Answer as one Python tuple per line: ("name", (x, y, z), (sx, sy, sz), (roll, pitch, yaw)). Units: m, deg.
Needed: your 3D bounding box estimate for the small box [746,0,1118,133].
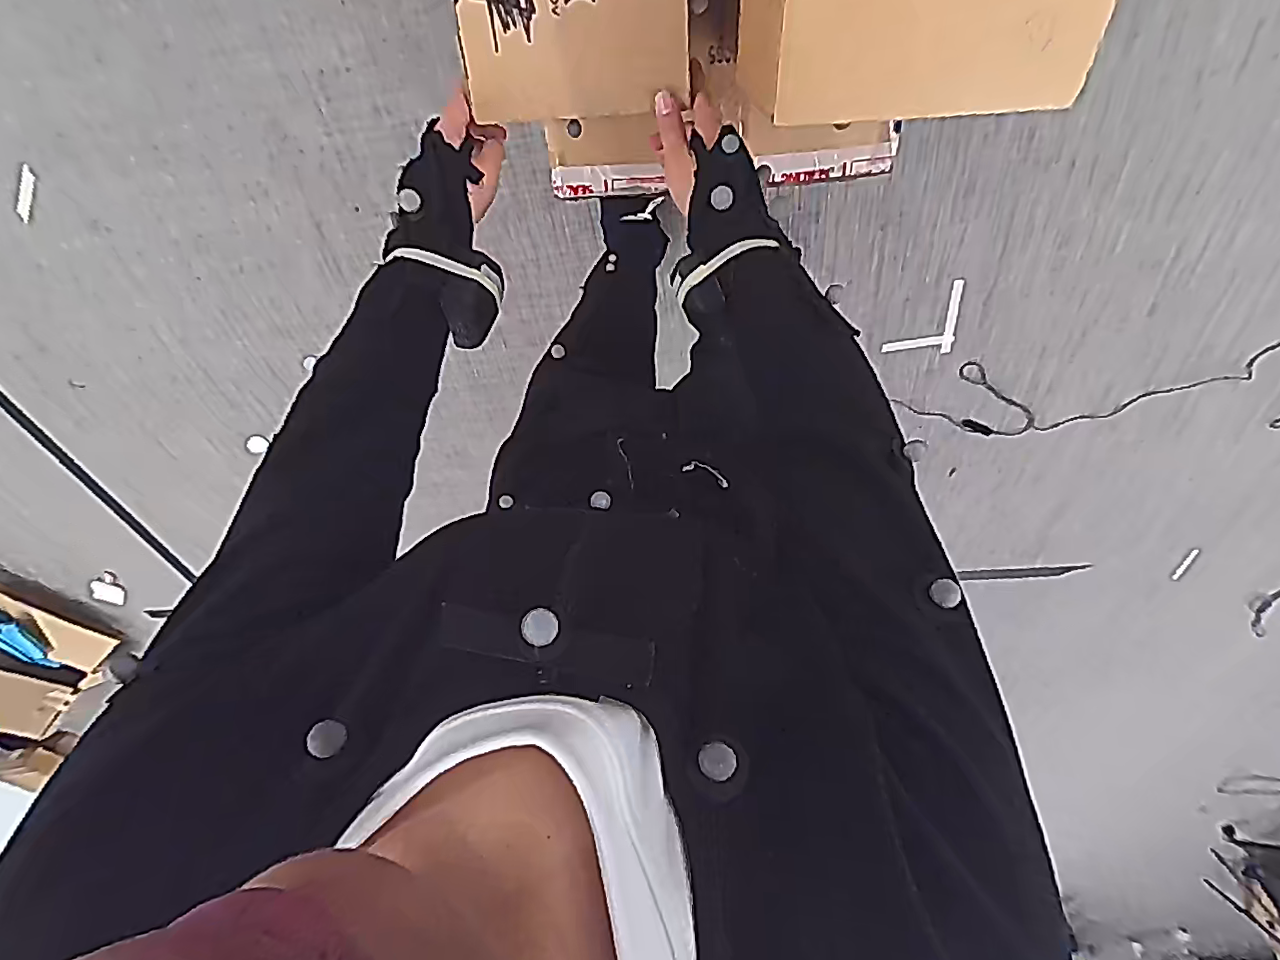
("small box", (0.155, -0.318, 0.306), (0.168, 0.176, 0.179), (-2, 131, 3))
